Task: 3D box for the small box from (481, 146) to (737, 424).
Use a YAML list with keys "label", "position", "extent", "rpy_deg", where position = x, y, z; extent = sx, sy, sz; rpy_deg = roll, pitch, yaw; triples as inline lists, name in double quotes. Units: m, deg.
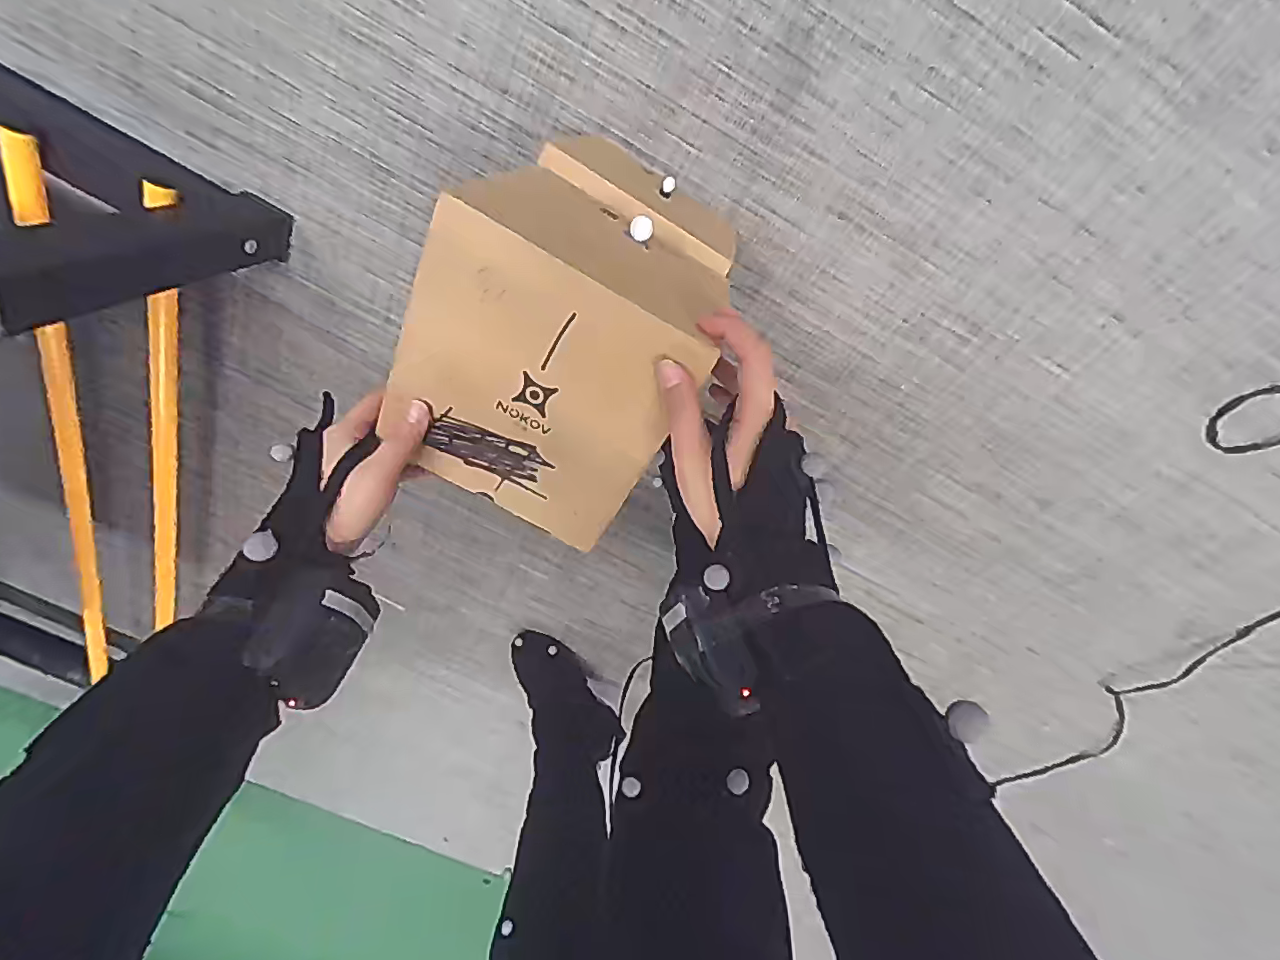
- label: "small box"
  position: [-0.023, -0.193, 0.524]
  extent: [0.168, 0.176, 0.179]
  rpy_deg: [29, 123, -8]
